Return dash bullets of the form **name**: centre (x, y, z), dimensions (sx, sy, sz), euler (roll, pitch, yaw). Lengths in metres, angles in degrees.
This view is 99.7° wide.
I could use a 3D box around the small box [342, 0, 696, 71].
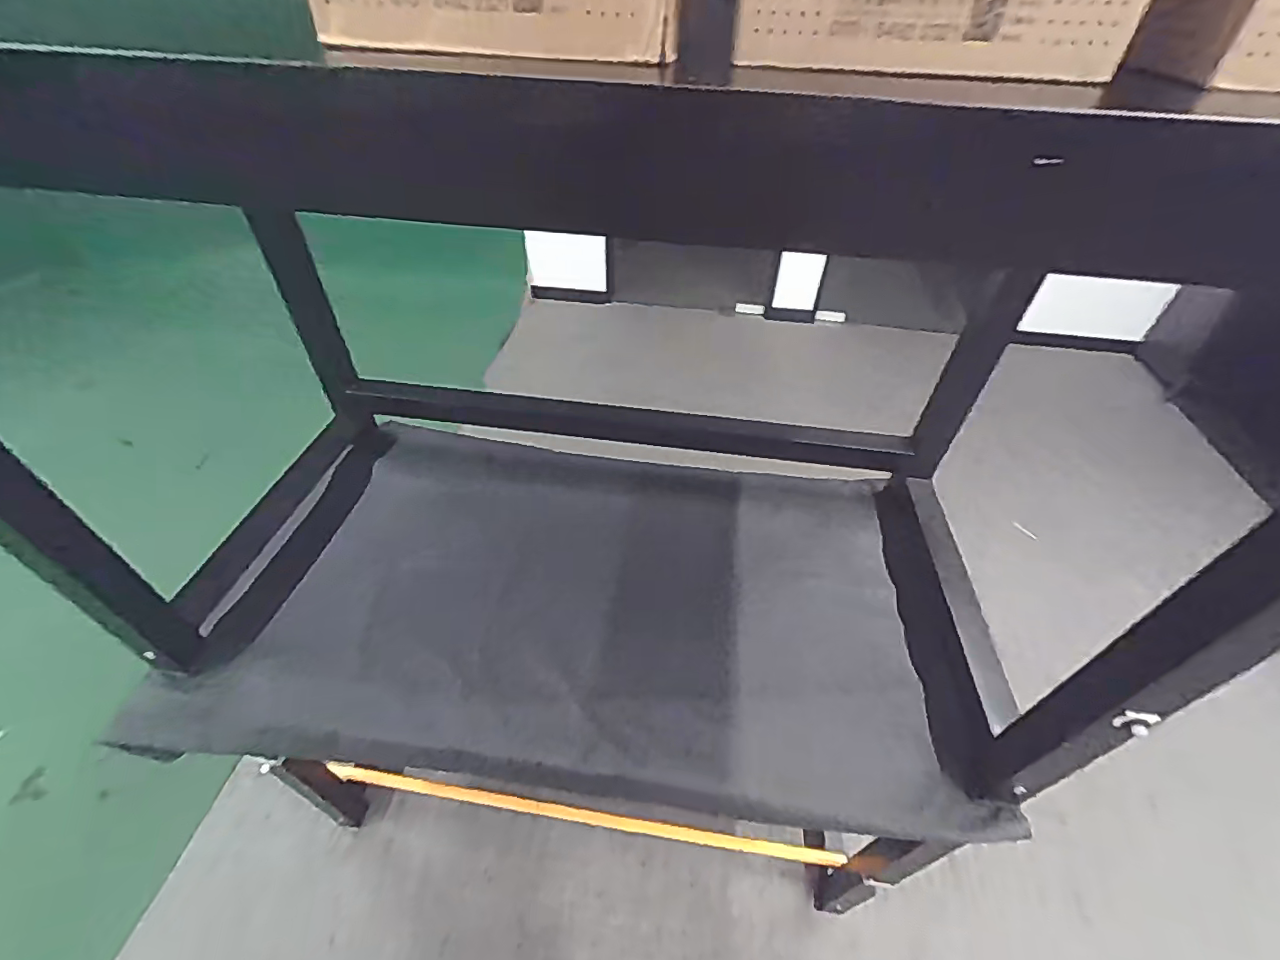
- **small box**: centre (-0.052, -0.316, 0.257), dimensions (0.168, 0.176, 0.179), euler (7, 44, 4)
